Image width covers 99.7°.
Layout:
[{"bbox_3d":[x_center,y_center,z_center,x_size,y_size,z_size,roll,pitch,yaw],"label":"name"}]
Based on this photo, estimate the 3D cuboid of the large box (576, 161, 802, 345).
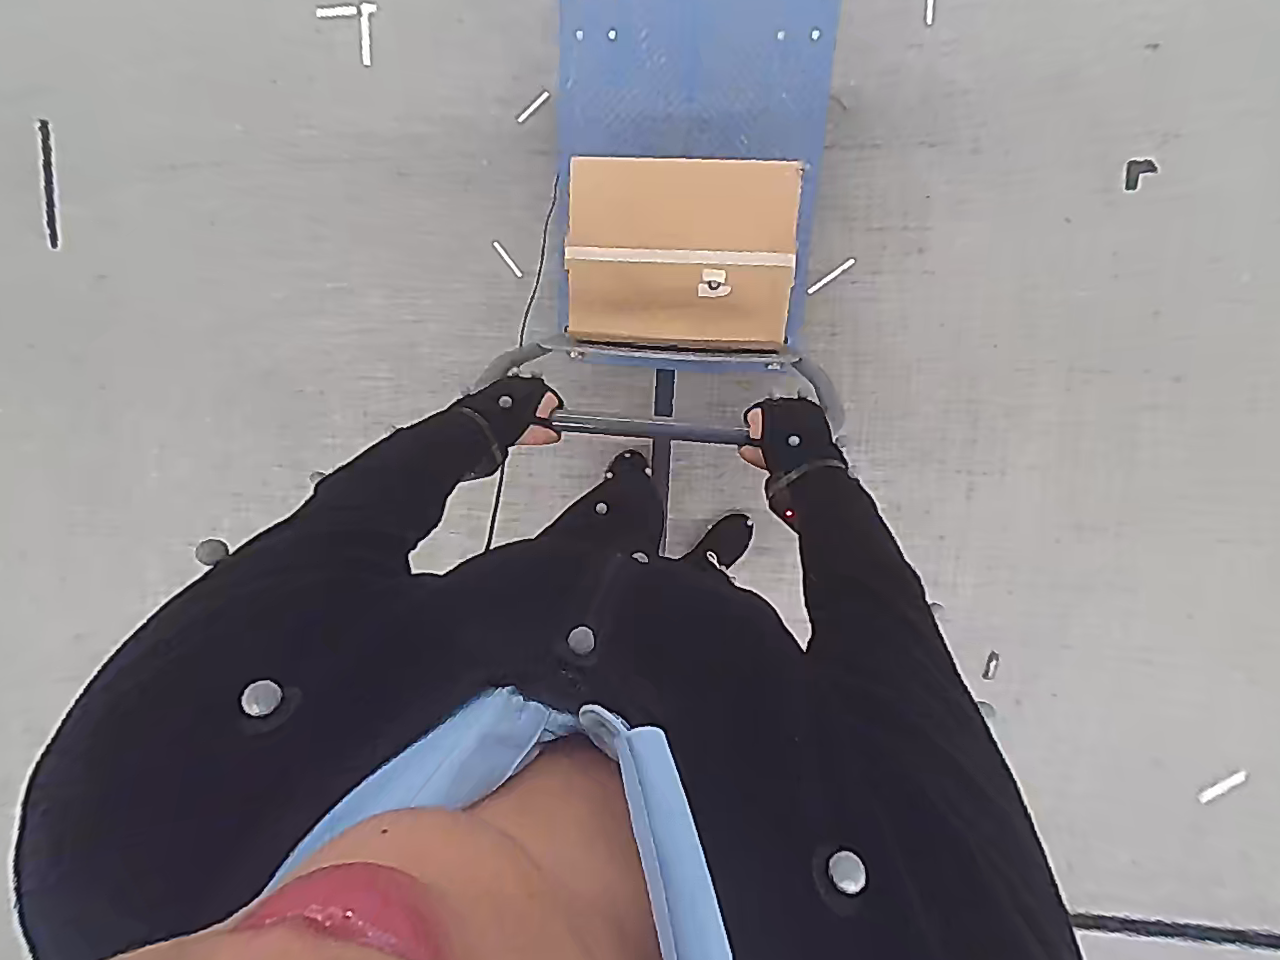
[{"bbox_3d":[0.092,-0.448,1.129,0.408,0.320,0.320,3,107,5],"label":"large box"}]
